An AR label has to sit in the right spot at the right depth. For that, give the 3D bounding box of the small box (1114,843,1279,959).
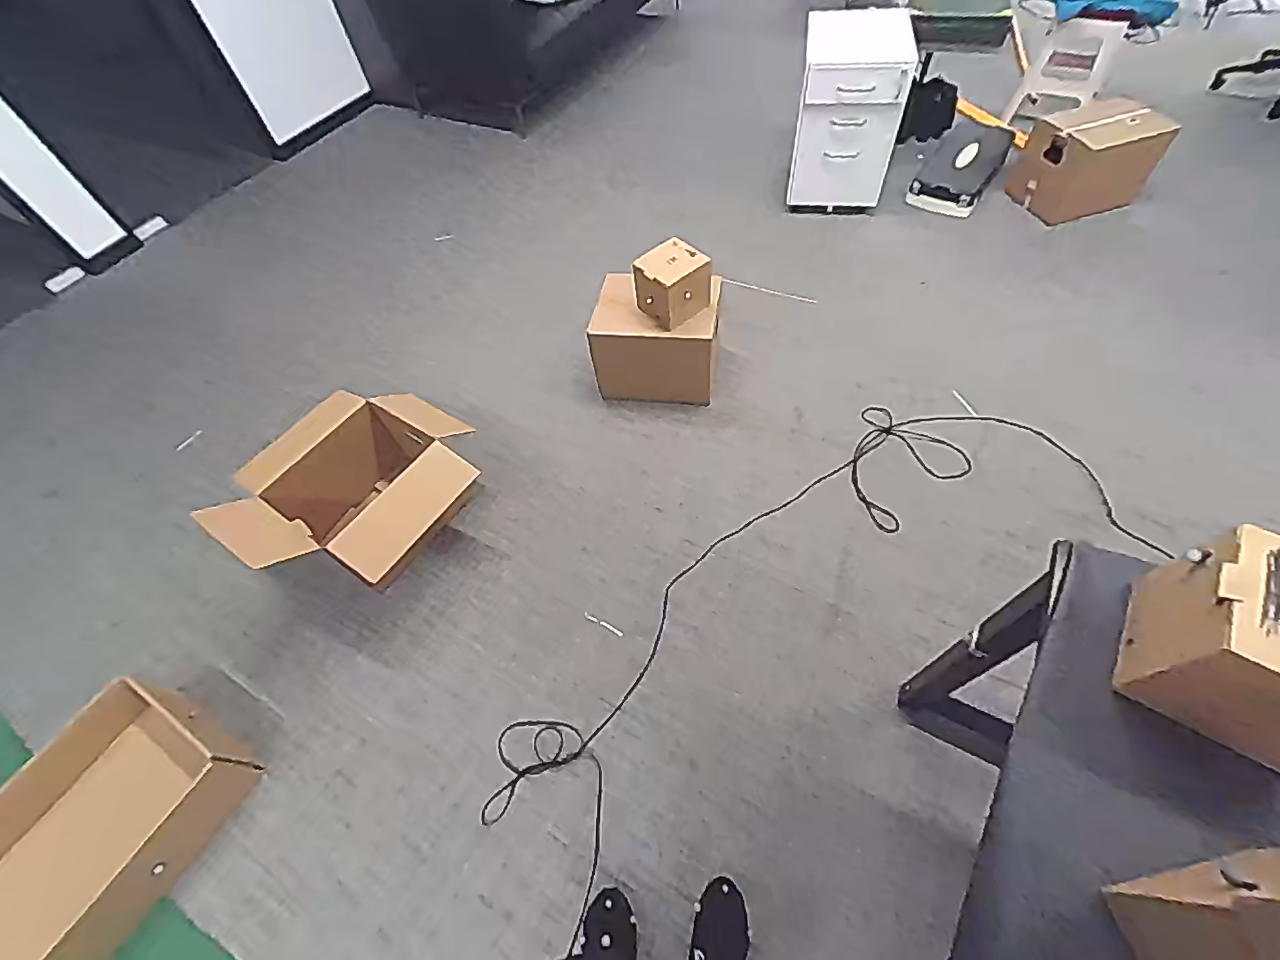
[{"bbox_3d":[0.555,0.416,0.447,0.179,0.176,0.168,-12,56,-3],"label":"small box"}]

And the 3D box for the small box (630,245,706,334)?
[{"bbox_3d":[0.095,-0.593,1.696,0.179,0.176,0.168,-37,61,-16],"label":"small box"}]

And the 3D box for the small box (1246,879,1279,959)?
[{"bbox_3d":[0.529,0.335,0.308,0.179,0.176,0.168,-2,57,3],"label":"small box"}]
